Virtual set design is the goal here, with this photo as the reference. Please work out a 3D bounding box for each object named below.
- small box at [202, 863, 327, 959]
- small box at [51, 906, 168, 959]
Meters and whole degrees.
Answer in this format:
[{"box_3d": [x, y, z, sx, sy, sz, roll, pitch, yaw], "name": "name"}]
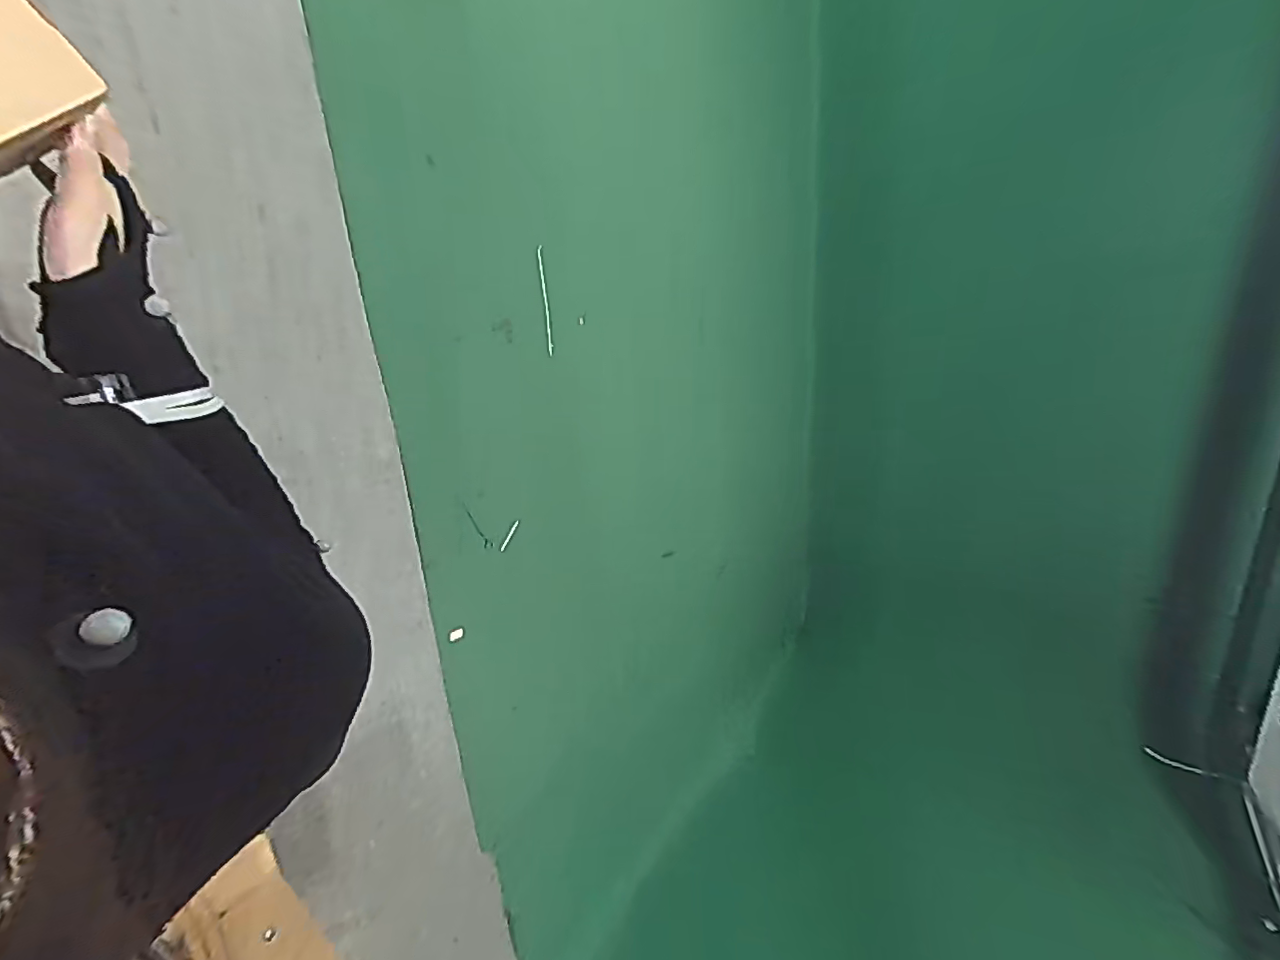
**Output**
[{"box_3d": [-0.745, 0.936, 1.093, 0.168, 0.176, 0.179, -22, 116, -49], "name": "small box"}, {"box_3d": [-0.889, 0.871, 0.887, 0.179, 0.176, 0.168, -24, 117, -48], "name": "small box"}]
